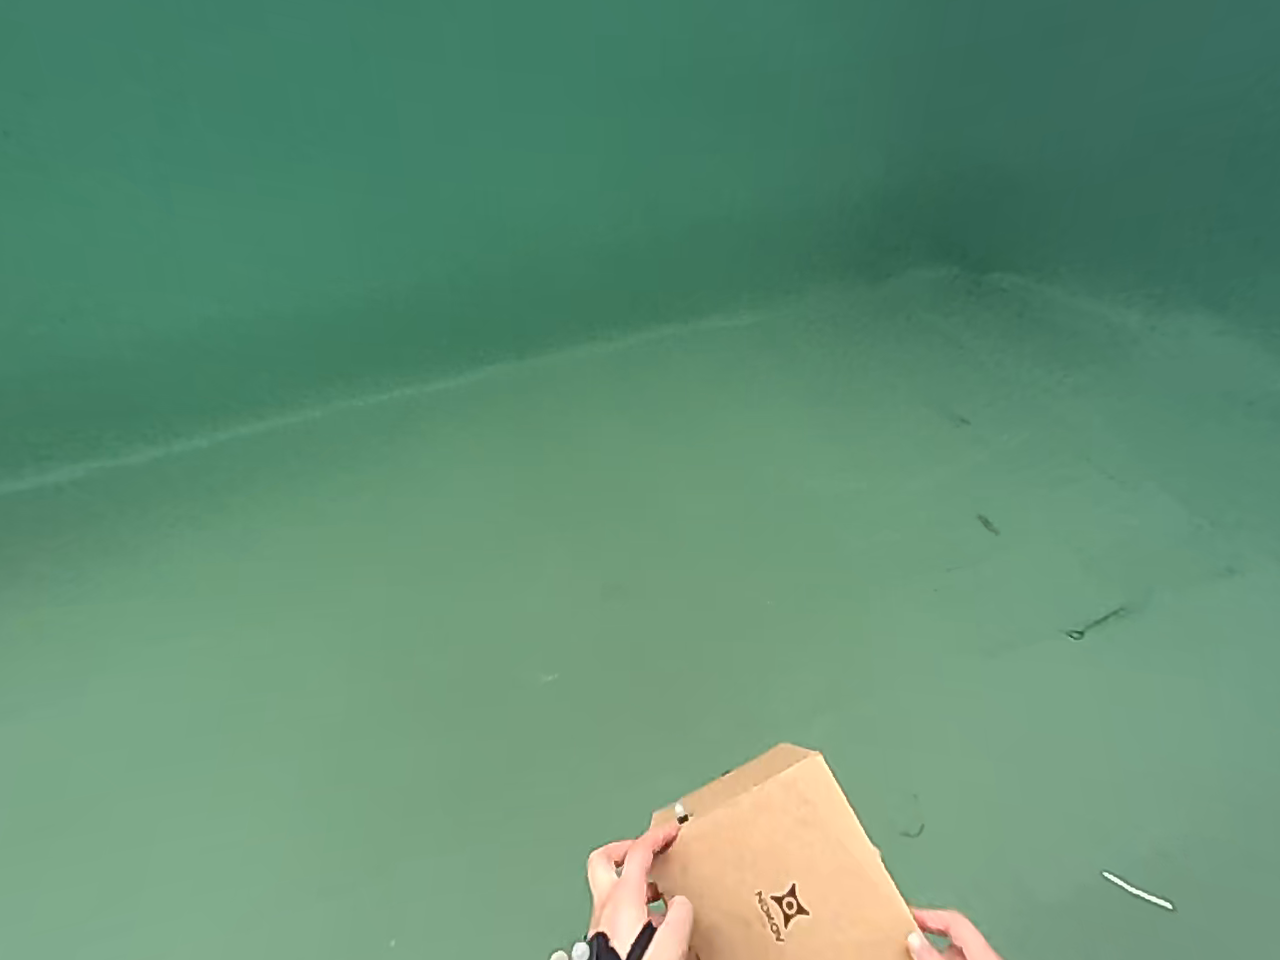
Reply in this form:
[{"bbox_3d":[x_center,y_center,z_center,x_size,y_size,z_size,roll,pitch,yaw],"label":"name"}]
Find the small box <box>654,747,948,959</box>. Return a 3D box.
[{"bbox_3d":[0.125,0.363,0.494,0.179,0.176,0.168,-25,67,-7],"label":"small box"}]
